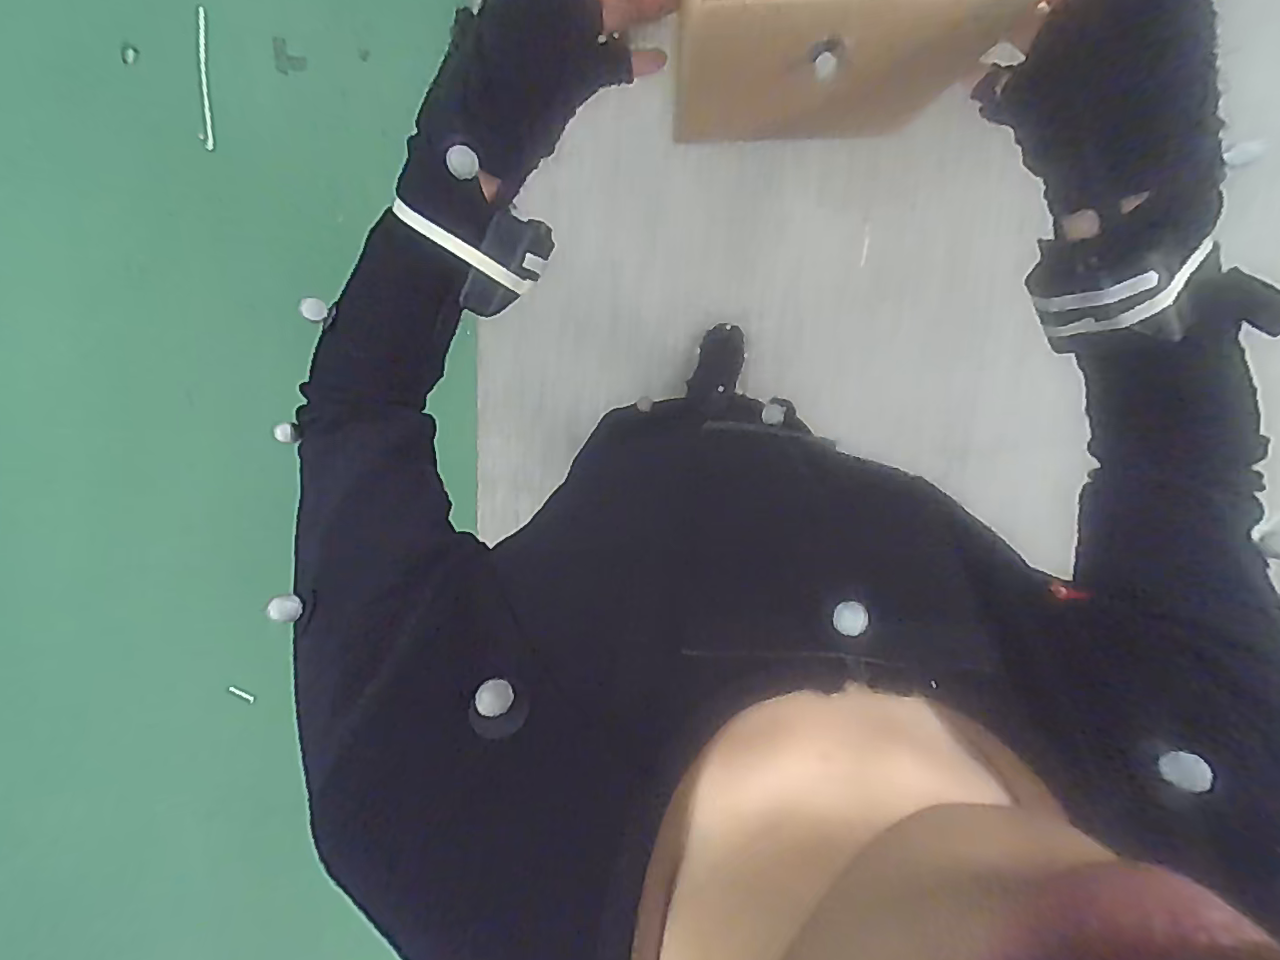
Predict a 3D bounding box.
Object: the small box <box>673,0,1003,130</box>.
[{"bbox_3d":[0.110,-0.337,0.328,0.179,0.176,0.168,-2,102,-1],"label":"small box"}]
